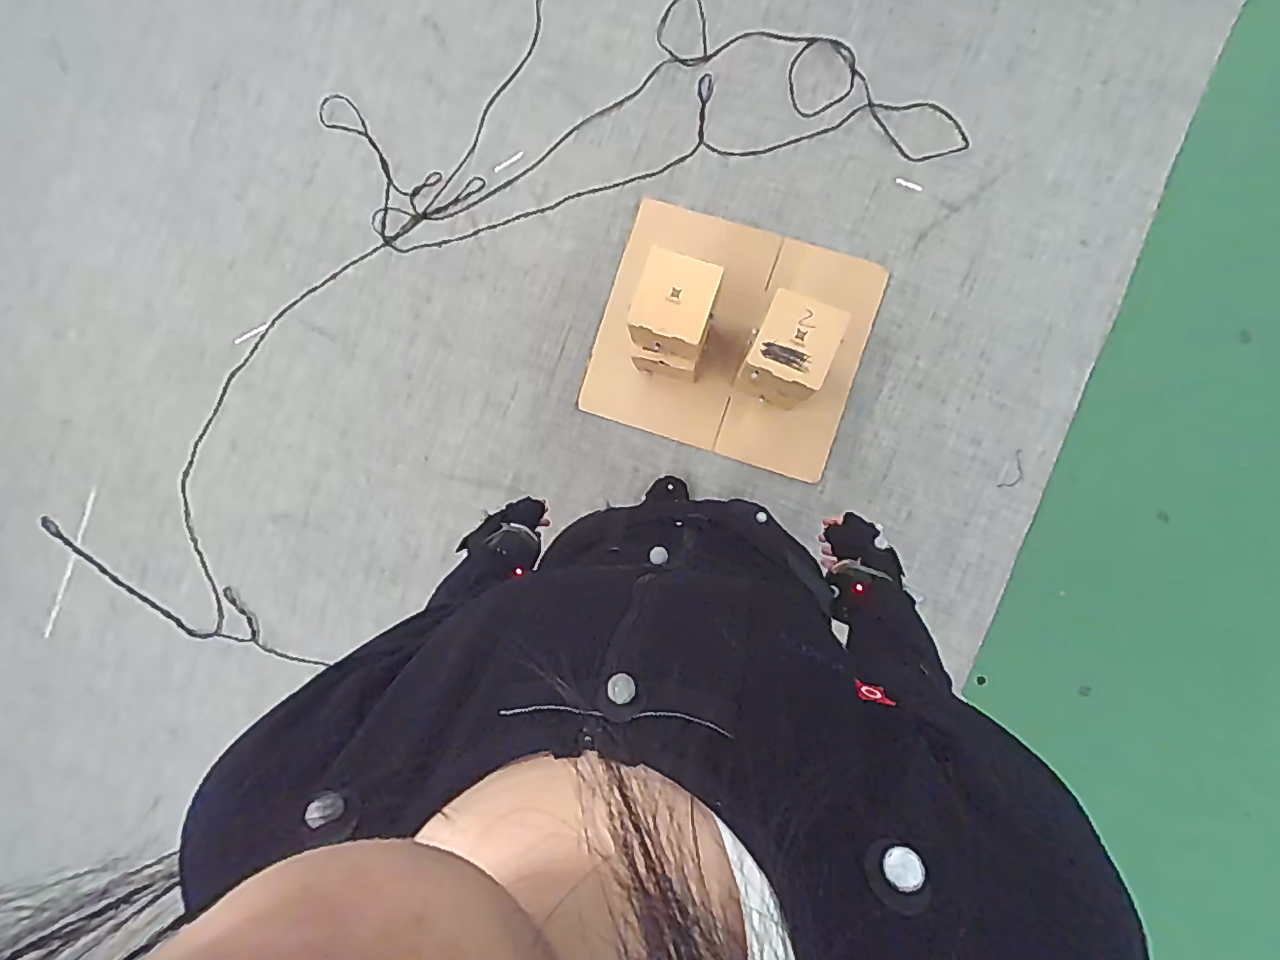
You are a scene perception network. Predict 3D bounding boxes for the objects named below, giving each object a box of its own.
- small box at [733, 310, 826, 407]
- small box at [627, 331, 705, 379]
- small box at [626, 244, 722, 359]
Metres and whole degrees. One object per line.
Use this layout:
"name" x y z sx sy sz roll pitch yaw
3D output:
"small box" 0.345 -0.301 1.374 0.168 0.176 0.179 23 93 5
"small box" 0.075 -0.373 1.392 0.168 0.176 0.179 16 92 4
"small box" 0.076 -0.396 1.228 0.168 0.176 0.179 19 92 4
